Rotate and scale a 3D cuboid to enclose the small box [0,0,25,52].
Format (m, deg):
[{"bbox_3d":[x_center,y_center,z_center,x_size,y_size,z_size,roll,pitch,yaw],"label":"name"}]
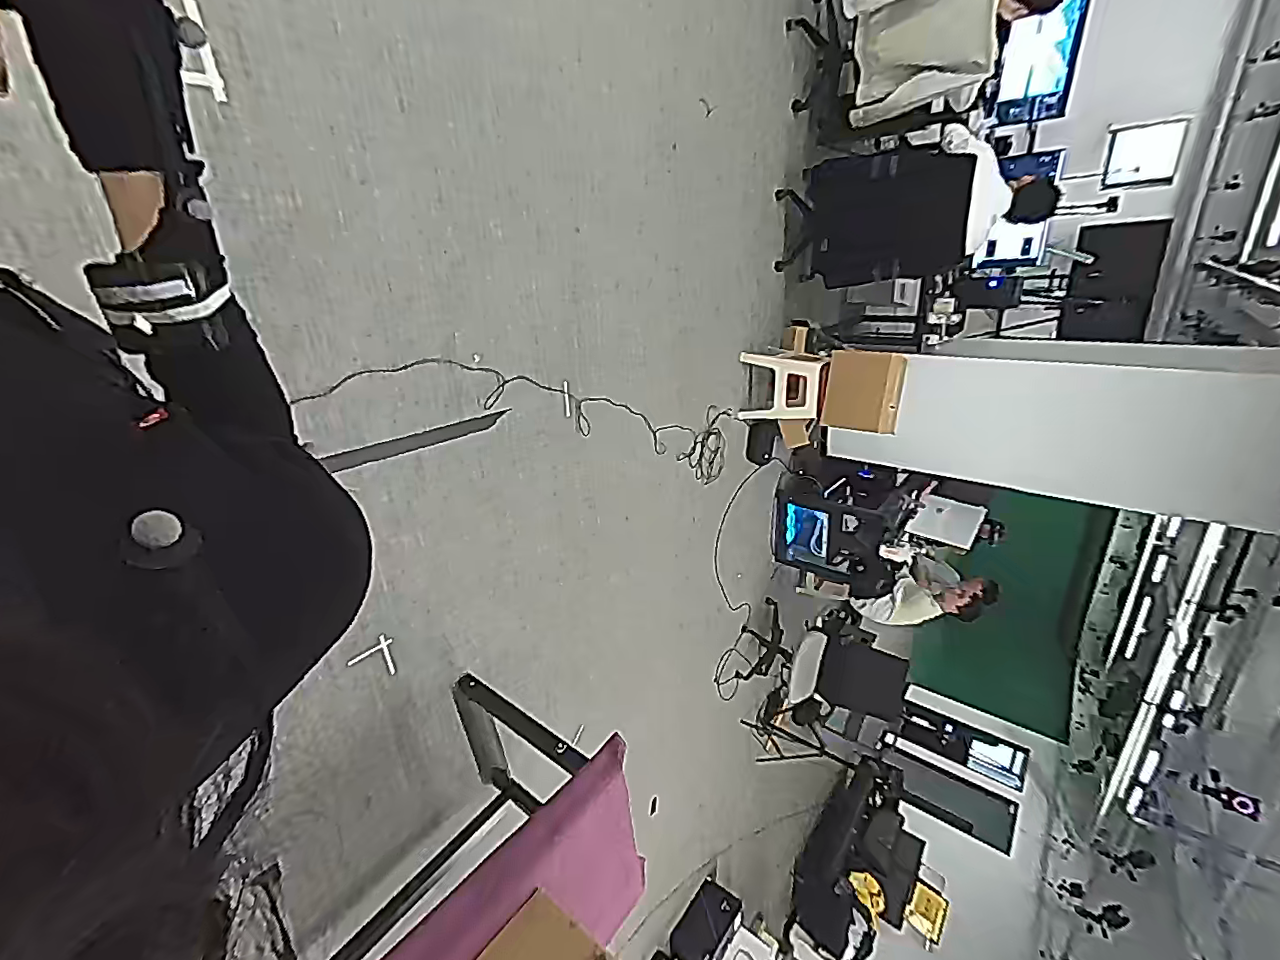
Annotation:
[{"bbox_3d":[-0.363,-0.285,0.185,0.168,0.176,0.179,-18,123,-44],"label":"small box"}]
